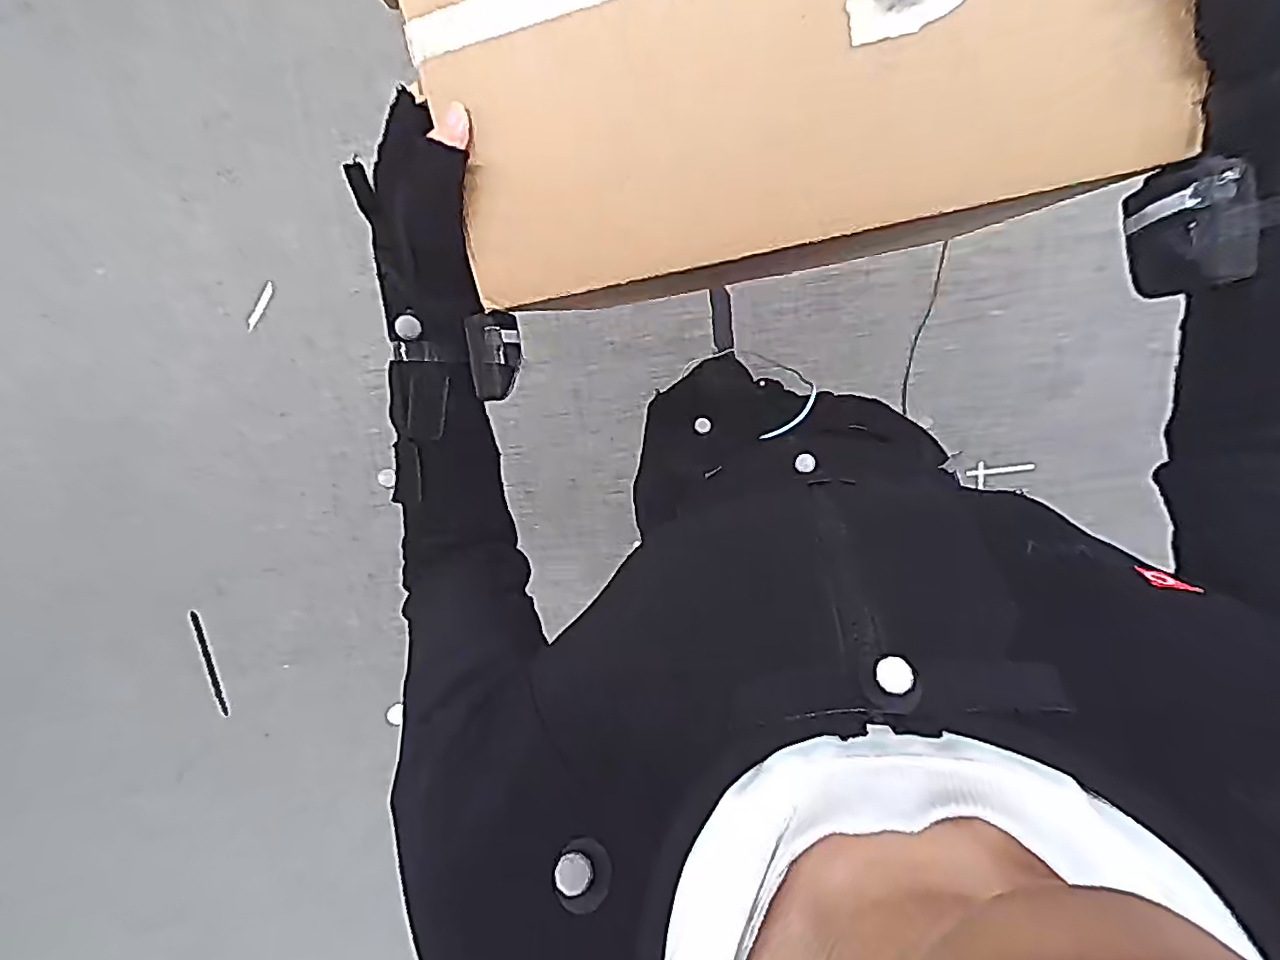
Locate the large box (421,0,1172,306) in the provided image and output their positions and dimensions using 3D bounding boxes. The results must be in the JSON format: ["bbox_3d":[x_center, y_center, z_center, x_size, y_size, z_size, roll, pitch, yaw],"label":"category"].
[{"bbox_3d":[0.084,-0.341,0.435,0.408,0.320,0.320,-9,106,12],"label":"large box"}]
